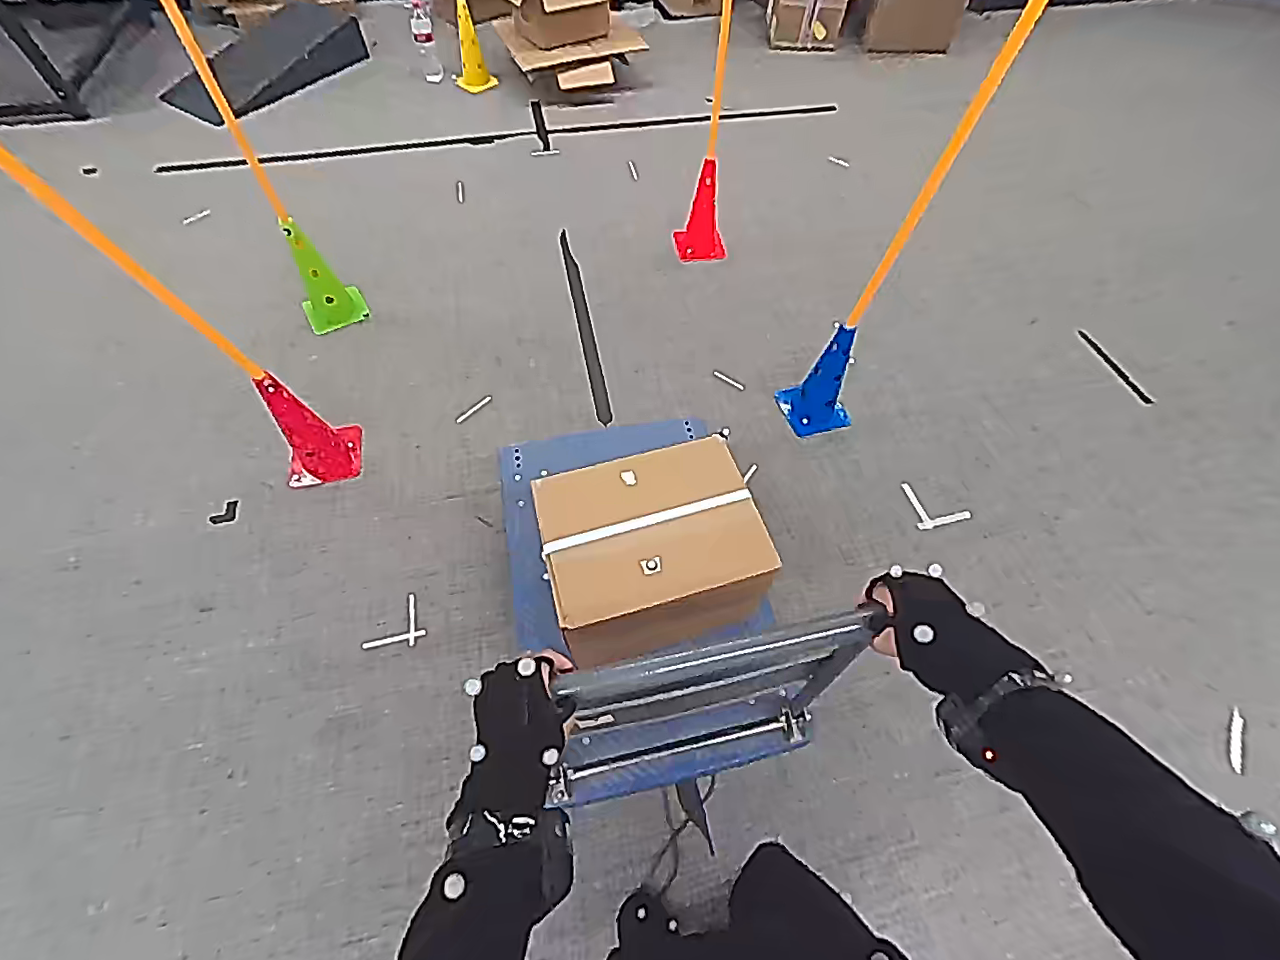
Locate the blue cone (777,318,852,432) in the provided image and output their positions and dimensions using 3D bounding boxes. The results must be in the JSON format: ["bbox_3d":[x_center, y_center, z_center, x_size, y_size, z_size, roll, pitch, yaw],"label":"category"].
[{"bbox_3d":[0.576,-0.332,1.662,0.193,0.380,0.192,-13,58,-10],"label":"blue cone"}]

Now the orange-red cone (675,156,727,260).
[{"bbox_3d":[0.258,-1.067,2.097,0.199,0.360,0.198,-4,59,-5],"label":"orange-red cone"}]
